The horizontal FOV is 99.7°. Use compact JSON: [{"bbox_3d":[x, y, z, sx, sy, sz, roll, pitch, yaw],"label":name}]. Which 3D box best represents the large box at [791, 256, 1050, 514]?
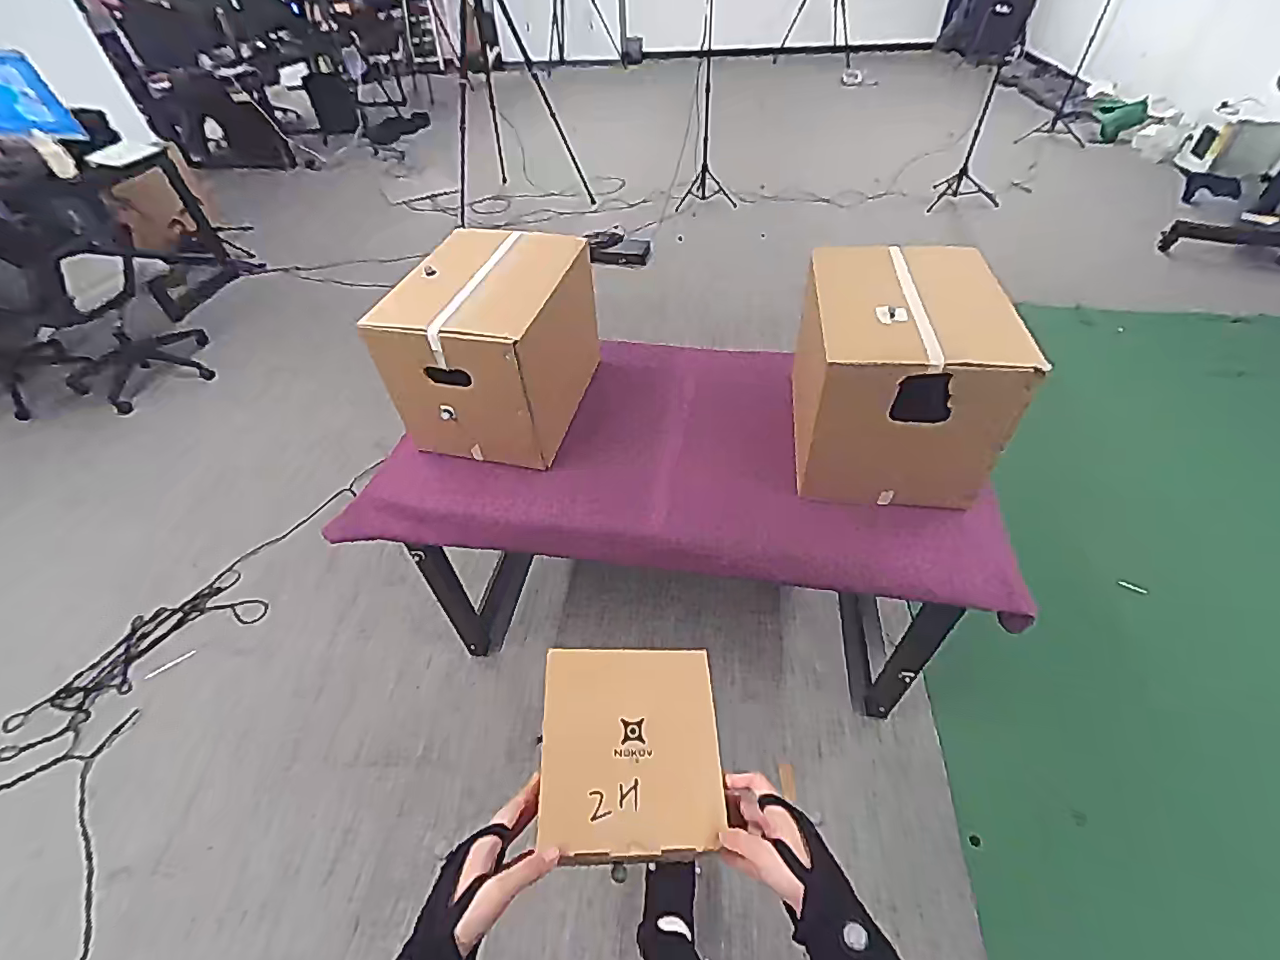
[{"bbox_3d":[0.476,-0.191,1.037,0.320,0.320,0.408,3,47,10],"label":"large box"}]

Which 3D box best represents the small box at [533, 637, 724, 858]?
[{"bbox_3d":[-0.023,0.282,0.566,0.168,0.176,0.179,3,52,-8],"label":"small box"}]
